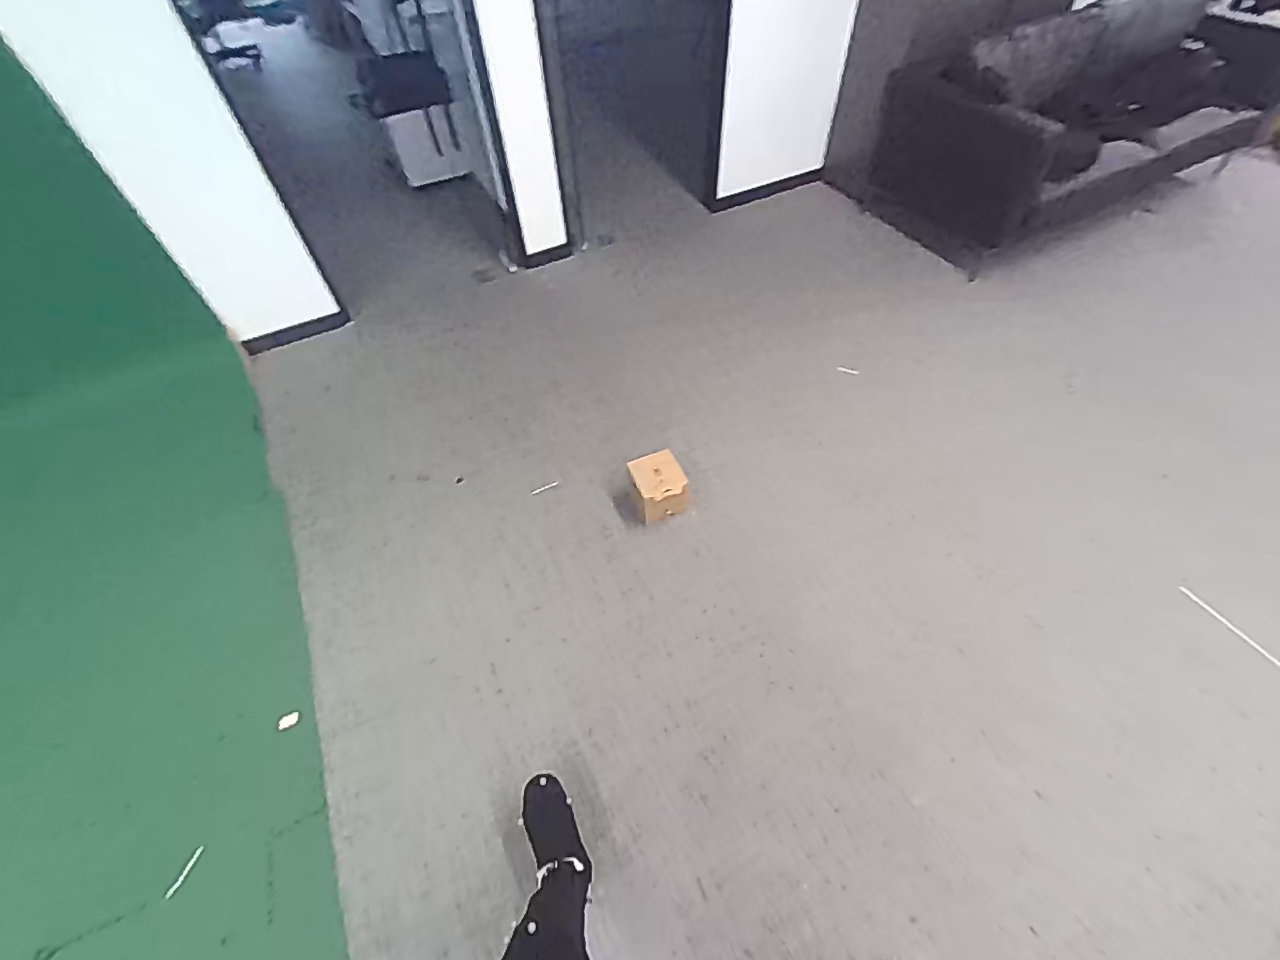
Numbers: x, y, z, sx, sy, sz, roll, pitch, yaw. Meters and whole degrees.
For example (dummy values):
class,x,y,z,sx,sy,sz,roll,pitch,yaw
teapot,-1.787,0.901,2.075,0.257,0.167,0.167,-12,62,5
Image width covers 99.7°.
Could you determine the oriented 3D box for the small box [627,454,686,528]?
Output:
class,x,y,z,sx,sy,sz,roll,pitch,yaw
small box,0.057,0.040,1.902,0.168,0.176,0.179,-15,55,-7
